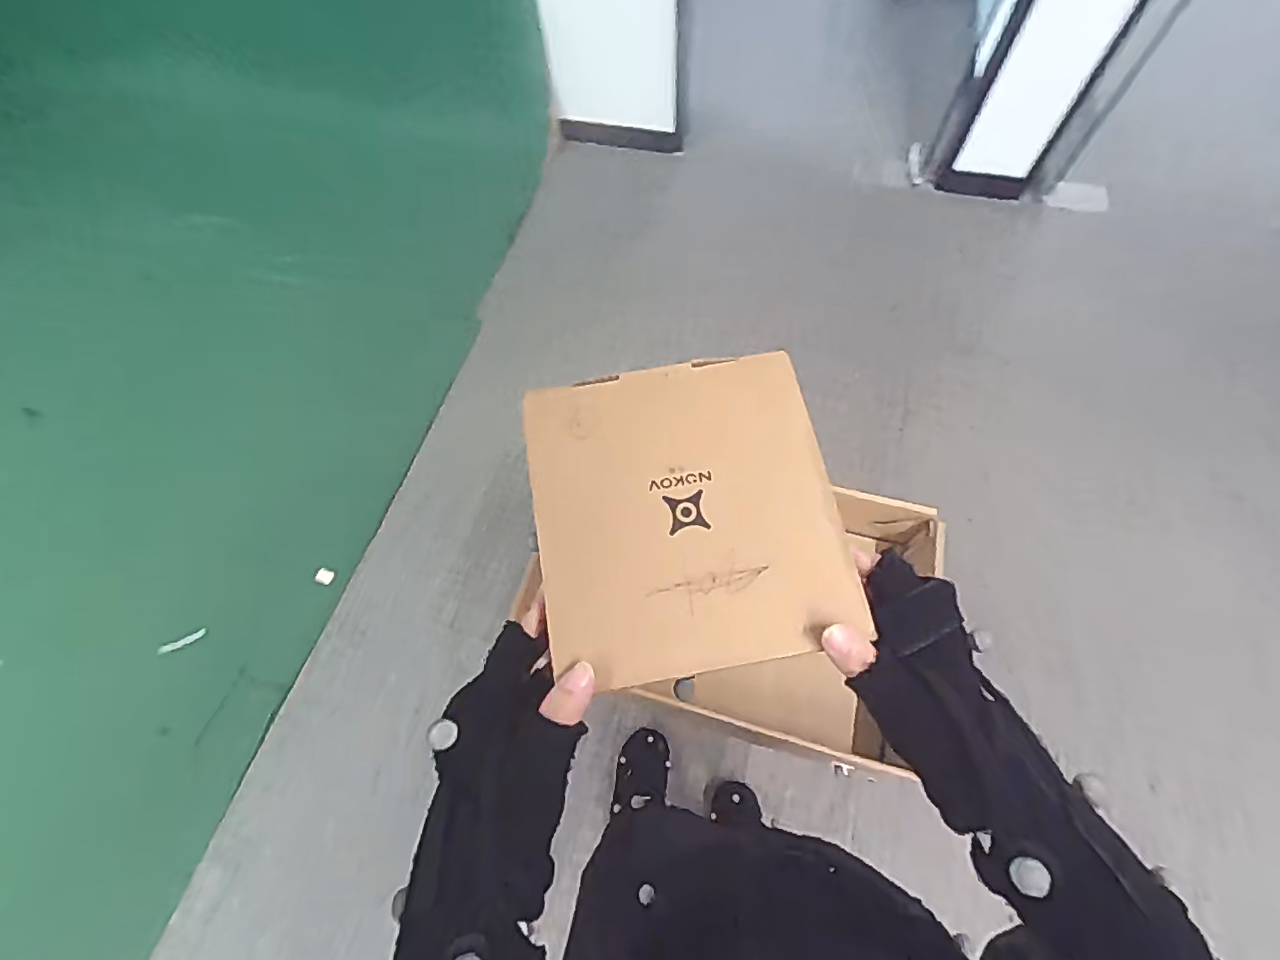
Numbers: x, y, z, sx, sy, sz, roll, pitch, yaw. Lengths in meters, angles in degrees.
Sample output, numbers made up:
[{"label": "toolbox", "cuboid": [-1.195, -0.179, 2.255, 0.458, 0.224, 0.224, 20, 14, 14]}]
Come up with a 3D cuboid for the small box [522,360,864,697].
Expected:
[{"label": "small box", "cuboid": [0.022, 0.045, 0.378, 0.168, 0.176, 0.179, -10, 71, -3]}]
